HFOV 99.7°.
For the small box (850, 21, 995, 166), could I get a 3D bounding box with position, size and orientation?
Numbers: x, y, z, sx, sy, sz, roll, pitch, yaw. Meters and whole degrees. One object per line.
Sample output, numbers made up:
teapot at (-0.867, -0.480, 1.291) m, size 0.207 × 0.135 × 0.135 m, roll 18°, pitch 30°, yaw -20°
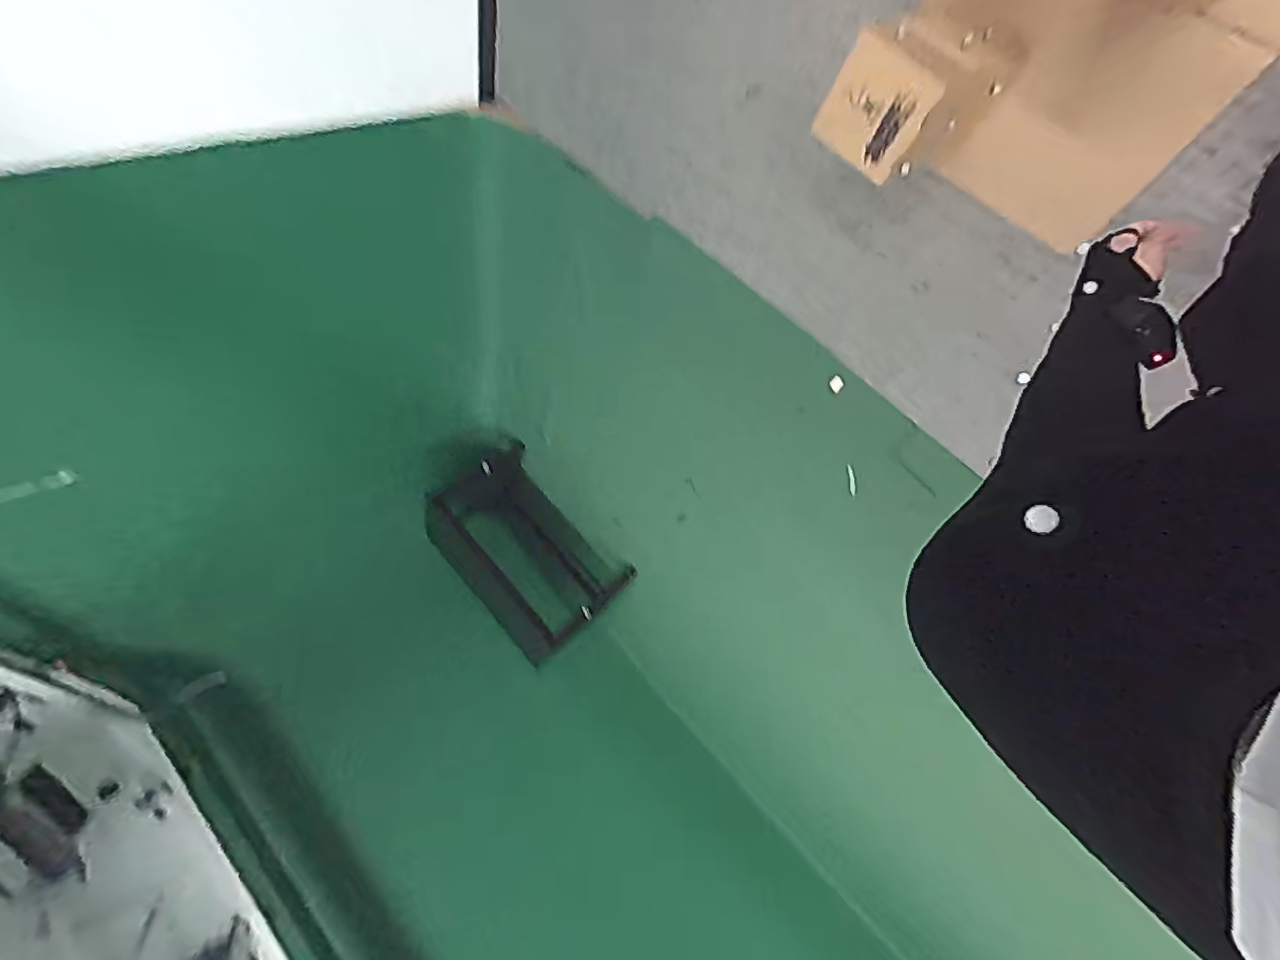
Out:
small box at (0.558, -0.763, 1.062) m, size 0.168 × 0.176 × 0.179 m, roll 45°, pitch 146°, yaw 13°
